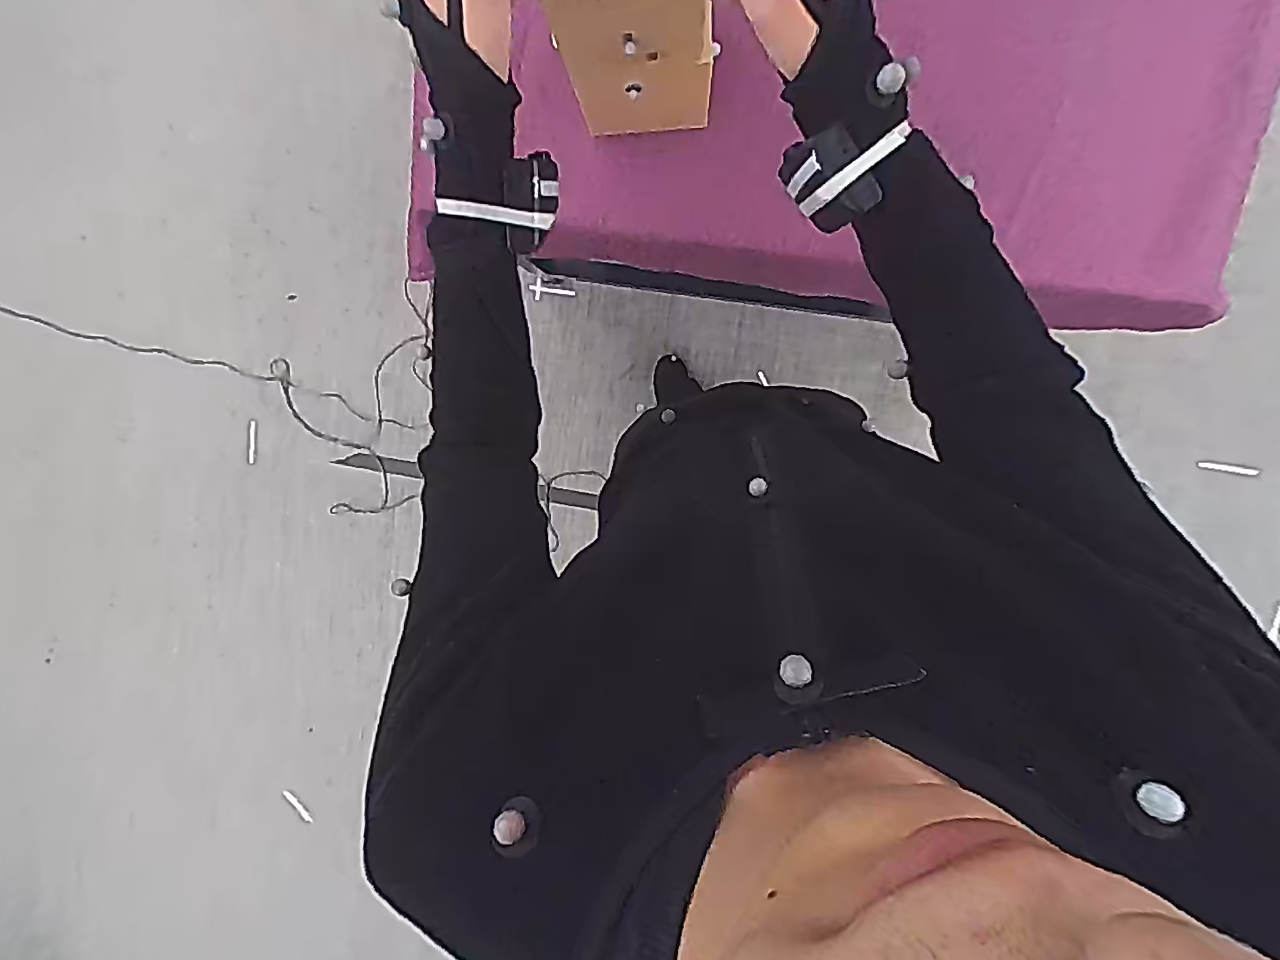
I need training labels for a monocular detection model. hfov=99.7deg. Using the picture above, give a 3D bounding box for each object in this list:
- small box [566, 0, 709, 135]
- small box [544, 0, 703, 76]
[{"bbox_3d":[0.001,-0.584,0.718,0.179,0.176,0.168,-2,100,4],"label":"small box"},{"bbox_3d":[-0.020,-0.563,0.555,0.168,0.176,0.179,-3,100,6],"label":"small box"}]
